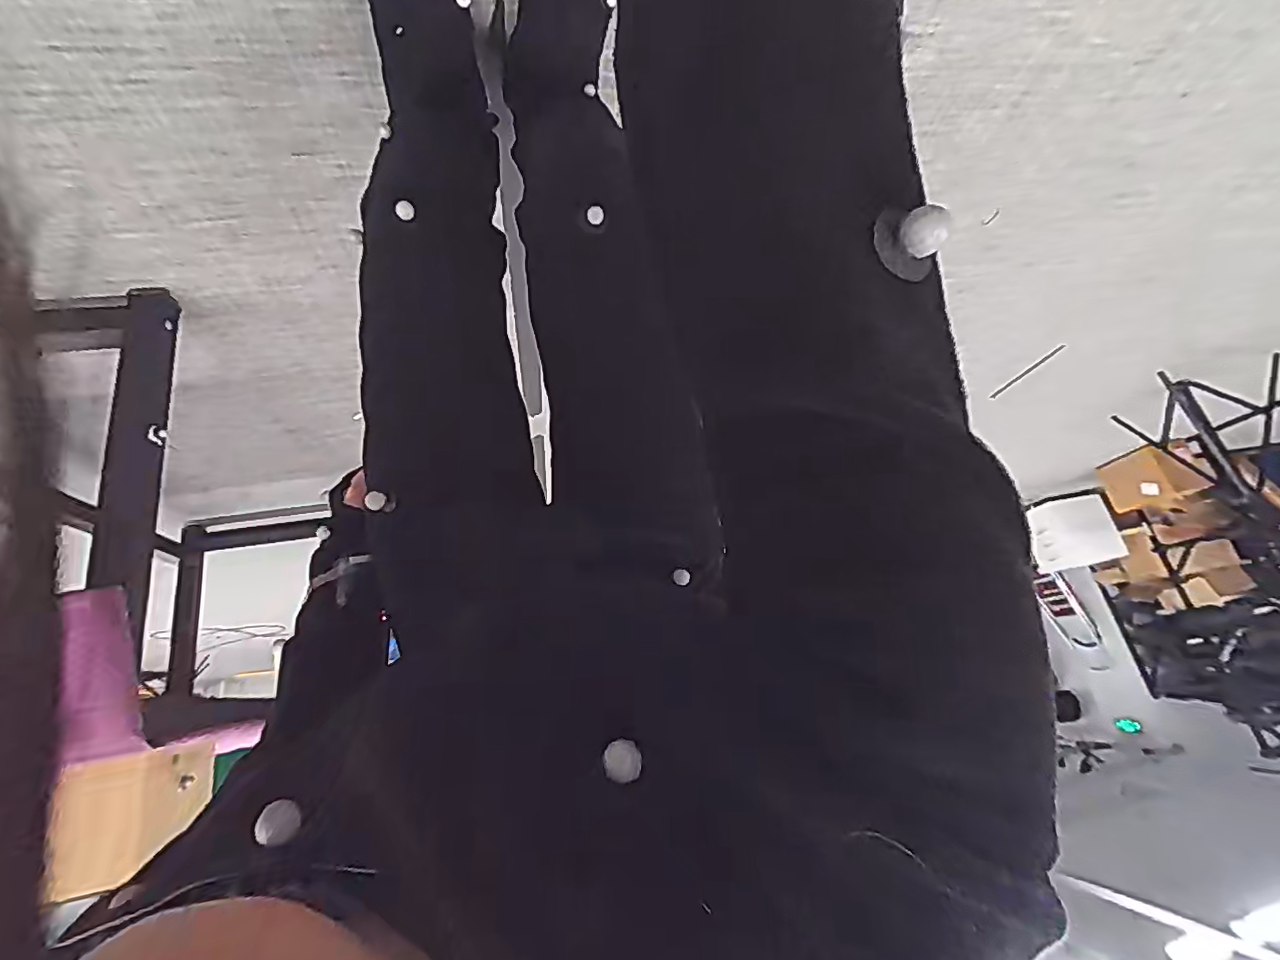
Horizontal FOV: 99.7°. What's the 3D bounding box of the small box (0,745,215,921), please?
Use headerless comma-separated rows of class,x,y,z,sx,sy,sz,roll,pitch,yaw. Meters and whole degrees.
small box,-0.773,0.504,0.802,0.179,0.176,0.168,-8,161,-11
